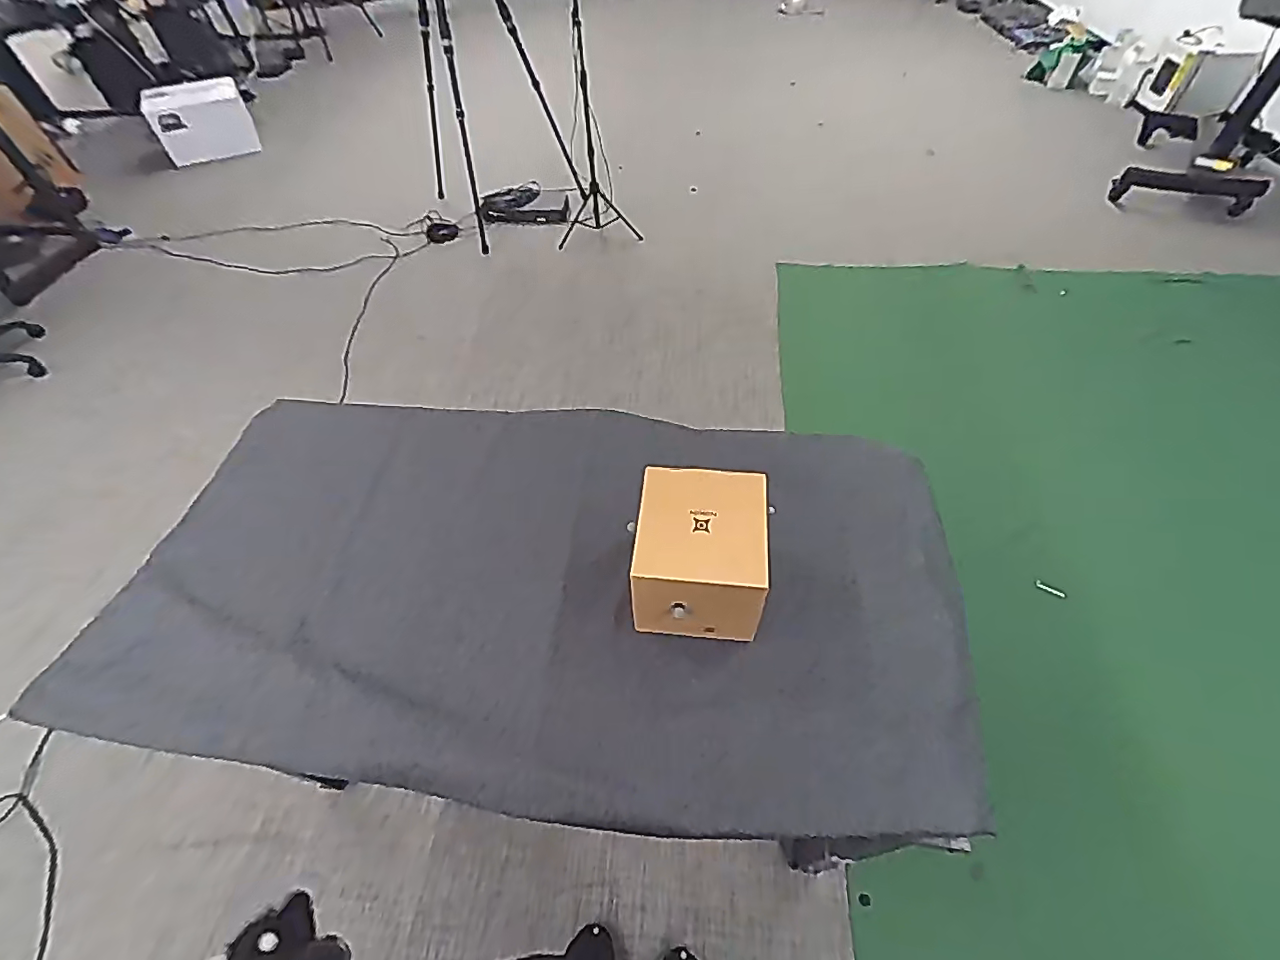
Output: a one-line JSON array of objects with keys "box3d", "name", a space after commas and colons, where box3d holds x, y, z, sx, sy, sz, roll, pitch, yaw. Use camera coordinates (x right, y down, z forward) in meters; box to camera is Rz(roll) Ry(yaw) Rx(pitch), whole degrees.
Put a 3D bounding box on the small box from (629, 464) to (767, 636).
[{"box3d": [0.083, 0.100, 0.748, 0.168, 0.176, 0.179, 4, 51, 6], "name": "small box"}]
